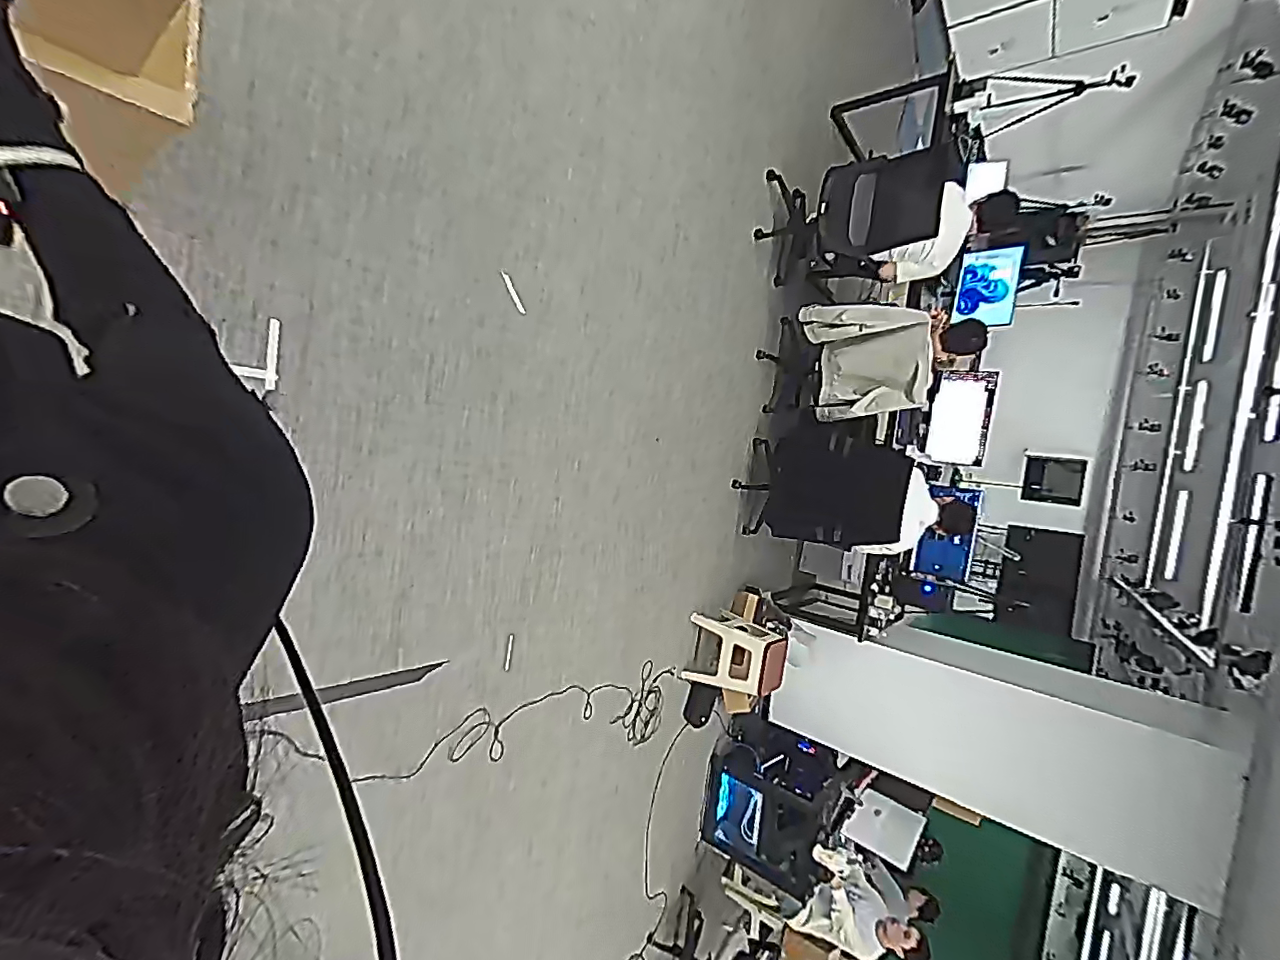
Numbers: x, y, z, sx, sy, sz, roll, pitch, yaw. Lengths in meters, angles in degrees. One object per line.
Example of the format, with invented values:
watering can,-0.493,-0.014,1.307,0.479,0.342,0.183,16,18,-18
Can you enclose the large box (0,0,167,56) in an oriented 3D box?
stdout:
large box,-0.606,-0.642,0.400,0.408,0.320,0.320,2,96,-54
